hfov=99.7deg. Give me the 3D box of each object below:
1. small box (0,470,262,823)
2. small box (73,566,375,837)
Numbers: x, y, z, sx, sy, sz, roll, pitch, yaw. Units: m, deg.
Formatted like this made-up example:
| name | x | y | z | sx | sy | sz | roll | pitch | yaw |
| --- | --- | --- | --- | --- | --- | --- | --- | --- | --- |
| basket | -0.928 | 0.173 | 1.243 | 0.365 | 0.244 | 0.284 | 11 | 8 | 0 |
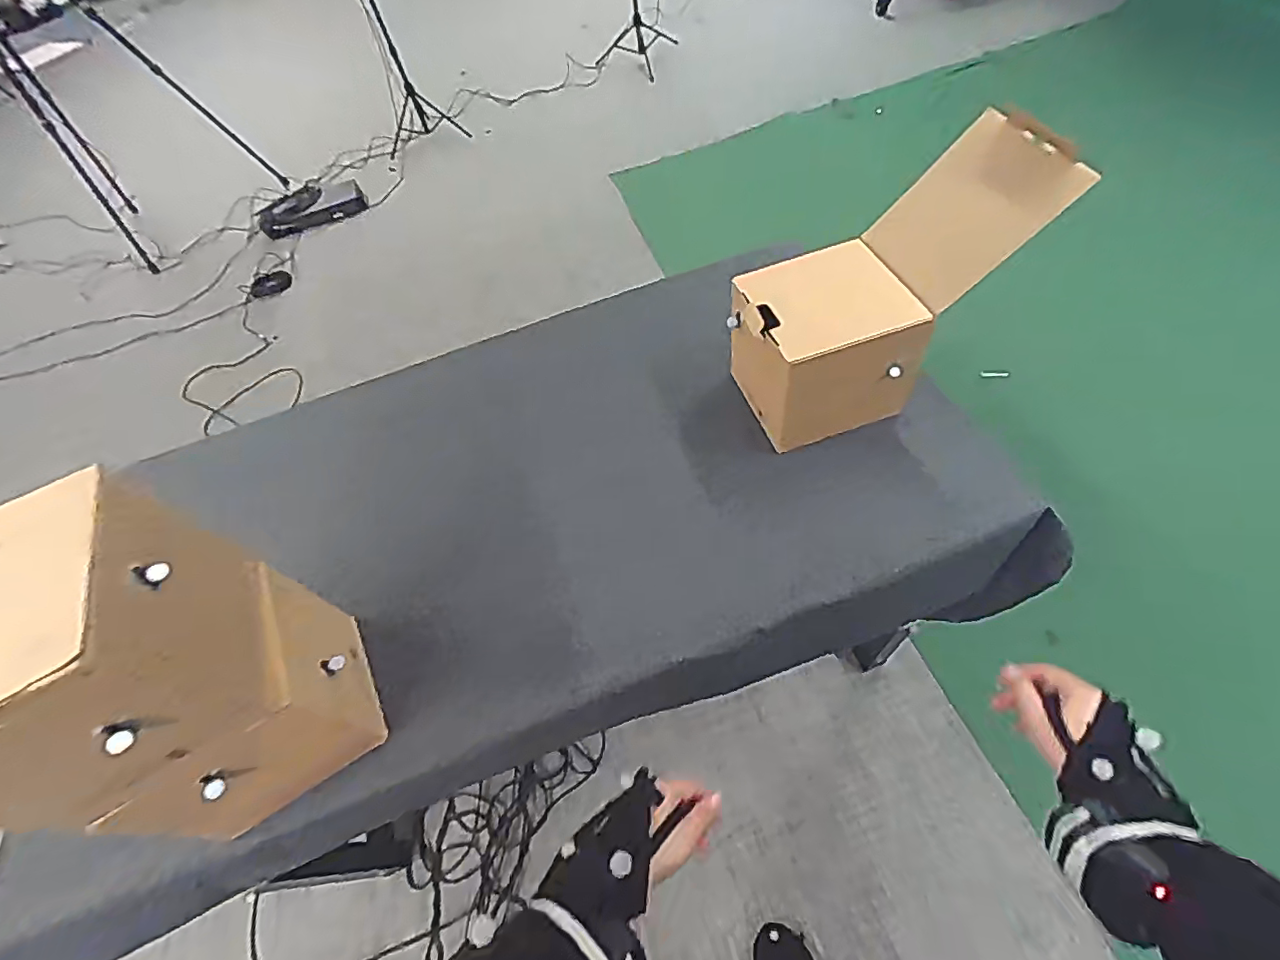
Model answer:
| name | x | y | z | sx | sy | sz | roll | pitch | yaw |
| --- | --- | --- | --- | --- | --- | --- | --- | --- | --- |
| small box | -0.425 | 0.132 | 0.411 | 0.168 | 0.176 | 0.179 | -28 | 55 | -11 |
| small box | -0.395 | 0.223 | 0.542 | 0.179 | 0.176 | 0.168 | -31 | 56 | -11 |
